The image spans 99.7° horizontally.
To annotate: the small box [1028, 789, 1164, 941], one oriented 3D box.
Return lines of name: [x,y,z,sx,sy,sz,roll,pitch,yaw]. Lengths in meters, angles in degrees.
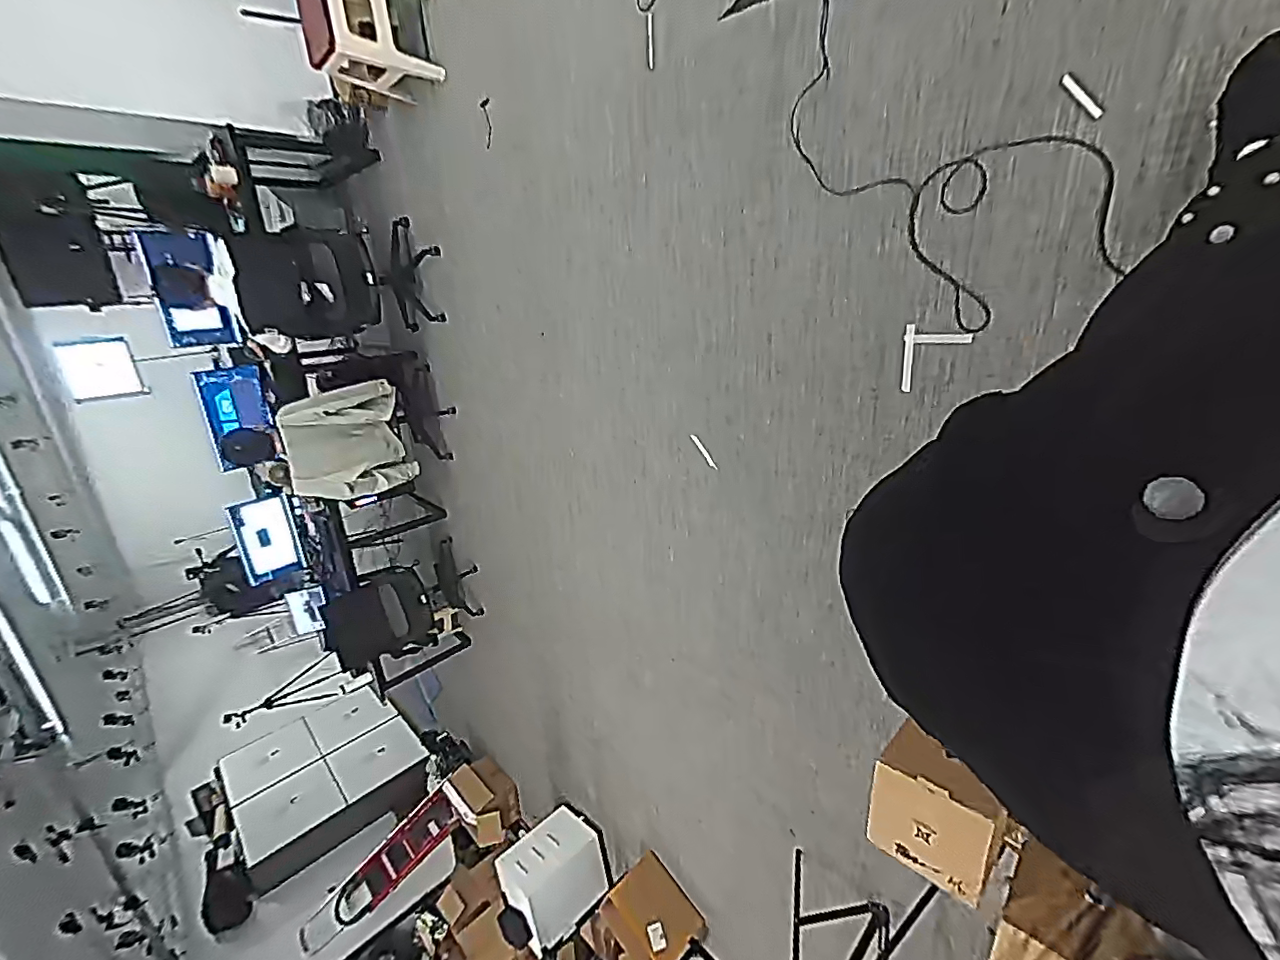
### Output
small box: [0.749,0.677,0.909,0.168,0.176,0.179,16,115,42]

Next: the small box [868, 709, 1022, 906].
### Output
small box: [0.493,0.510,0.873,0.168,0.176,0.179,17,115,44]

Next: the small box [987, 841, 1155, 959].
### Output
small box: [0.630,0.696,0.797,0.168,0.176,0.179,15,114,42]
